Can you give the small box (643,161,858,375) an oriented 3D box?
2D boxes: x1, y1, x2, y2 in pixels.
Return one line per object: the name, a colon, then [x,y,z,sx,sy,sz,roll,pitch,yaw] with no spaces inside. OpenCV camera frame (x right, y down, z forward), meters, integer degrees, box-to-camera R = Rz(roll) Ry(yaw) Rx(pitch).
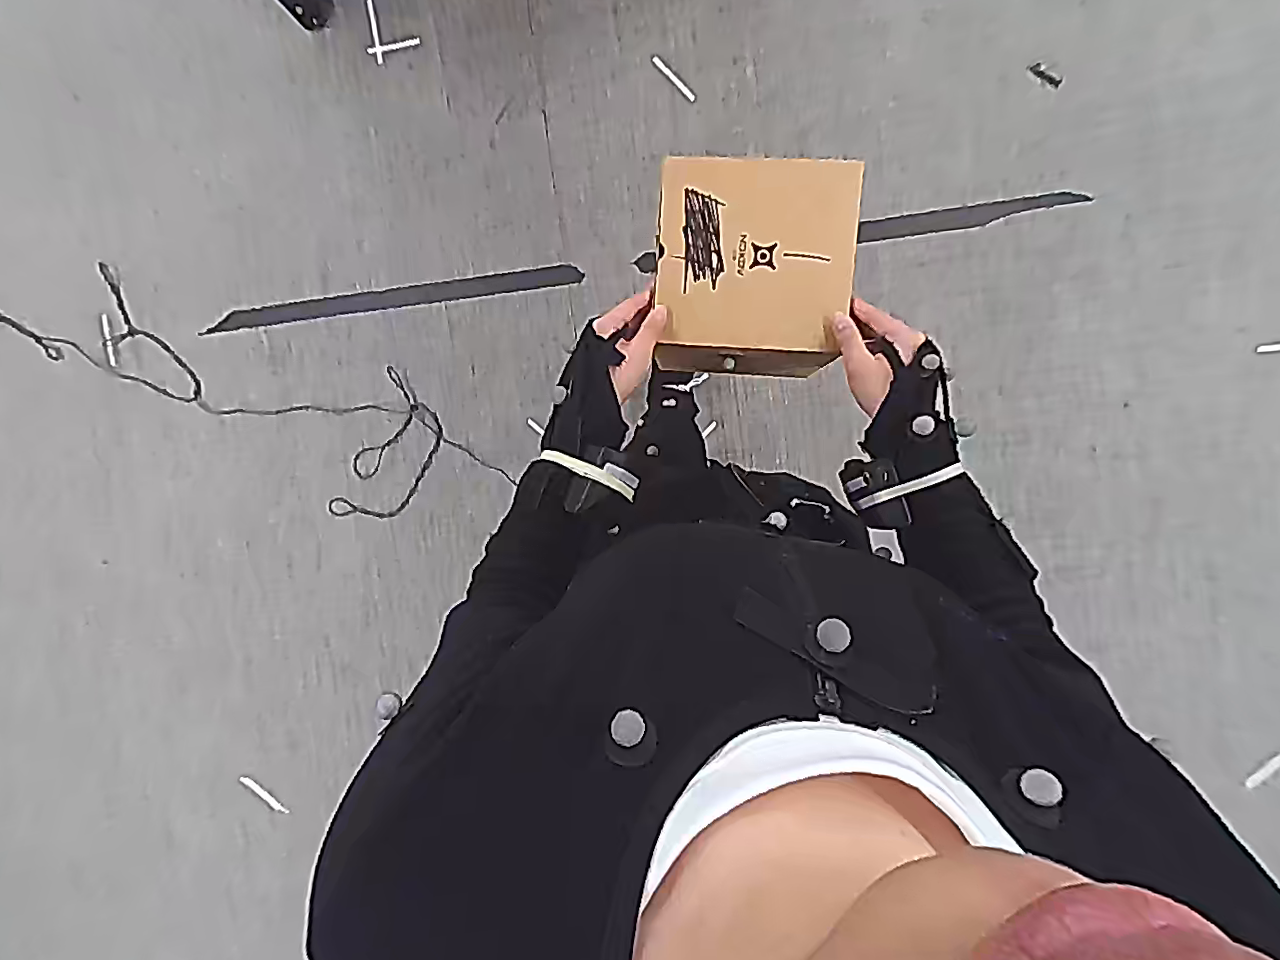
small box: [0.102,-0.202,0.559,0.179,0.176,0.168,5,97,4]
